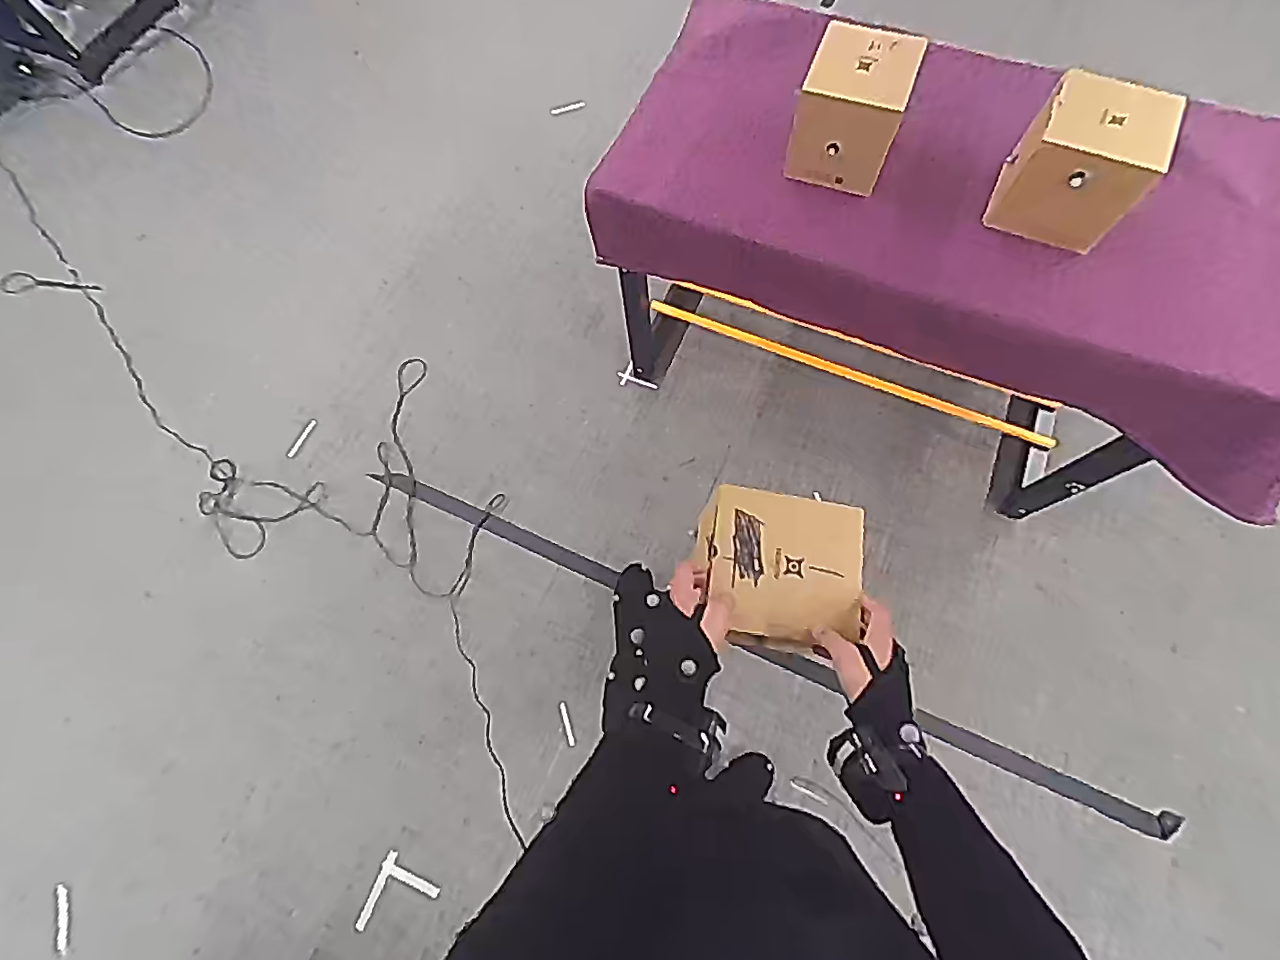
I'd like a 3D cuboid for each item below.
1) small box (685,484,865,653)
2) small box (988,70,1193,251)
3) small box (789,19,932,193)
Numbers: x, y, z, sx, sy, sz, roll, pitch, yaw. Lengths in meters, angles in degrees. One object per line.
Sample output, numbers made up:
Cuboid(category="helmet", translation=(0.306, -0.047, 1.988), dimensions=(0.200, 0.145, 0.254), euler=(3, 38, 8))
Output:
Cuboid(category="small box", translation=(0.159, 0.120, 0.678), dimensions=(0.179, 0.176, 0.168), euler=(11, 72, 0))
Cuboid(category="small box", translation=(0.716, -0.506, 0.876), dimensions=(0.179, 0.176, 0.168), euler=(25, 75, 12))
Cuboid(category="small box", translation=(0.372, -0.642, 0.942), dimensions=(0.168, 0.176, 0.179), euler=(21, 73, 10))
